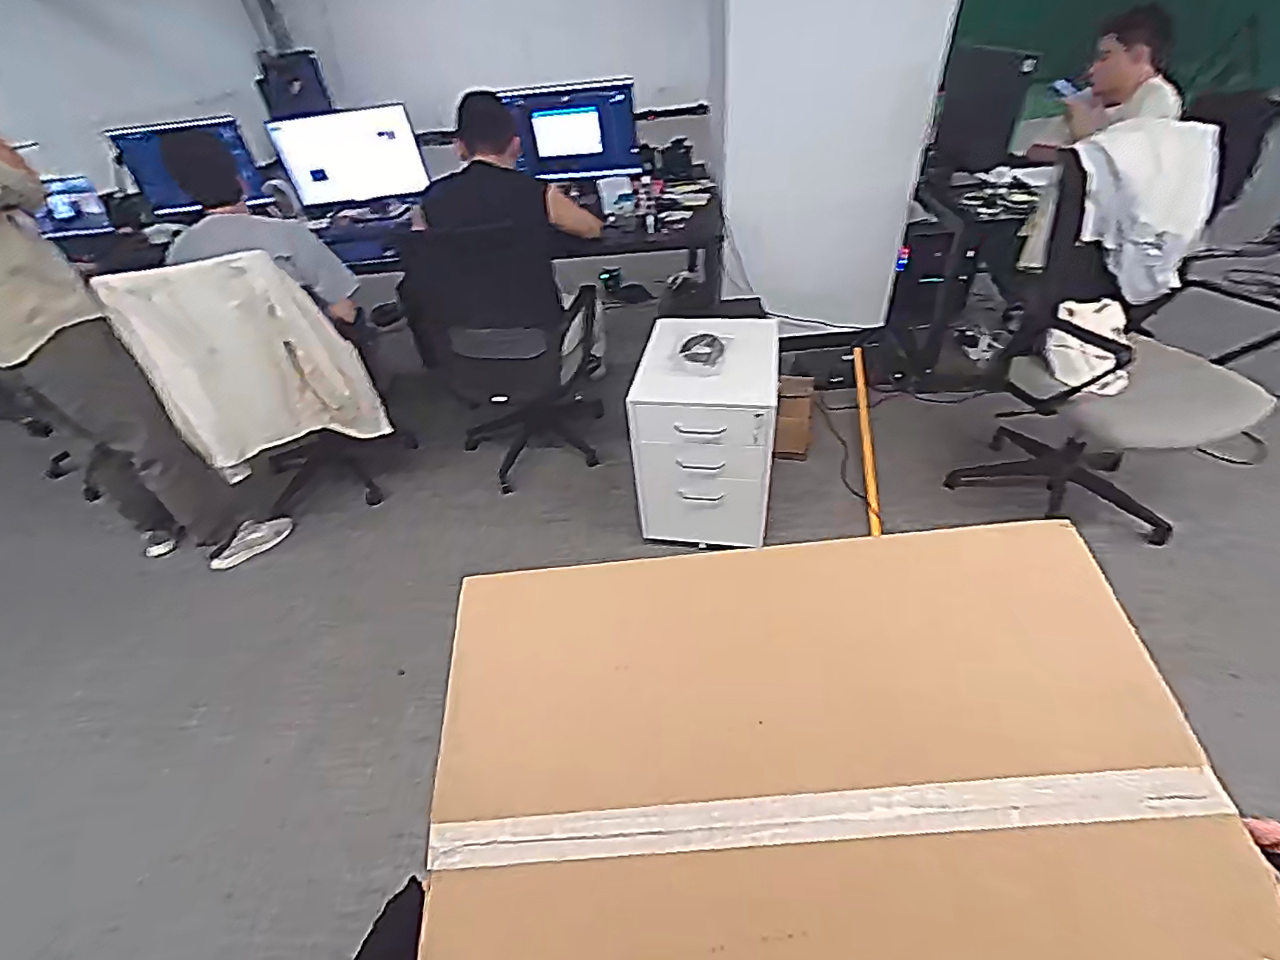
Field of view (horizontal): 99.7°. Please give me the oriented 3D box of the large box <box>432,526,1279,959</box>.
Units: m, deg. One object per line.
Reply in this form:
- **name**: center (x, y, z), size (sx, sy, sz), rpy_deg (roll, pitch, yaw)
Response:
- **large box**: center (0.102, 0.263, 0.414), size (0.408, 0.320, 0.320), rpy_deg (-7, 58, 3)
